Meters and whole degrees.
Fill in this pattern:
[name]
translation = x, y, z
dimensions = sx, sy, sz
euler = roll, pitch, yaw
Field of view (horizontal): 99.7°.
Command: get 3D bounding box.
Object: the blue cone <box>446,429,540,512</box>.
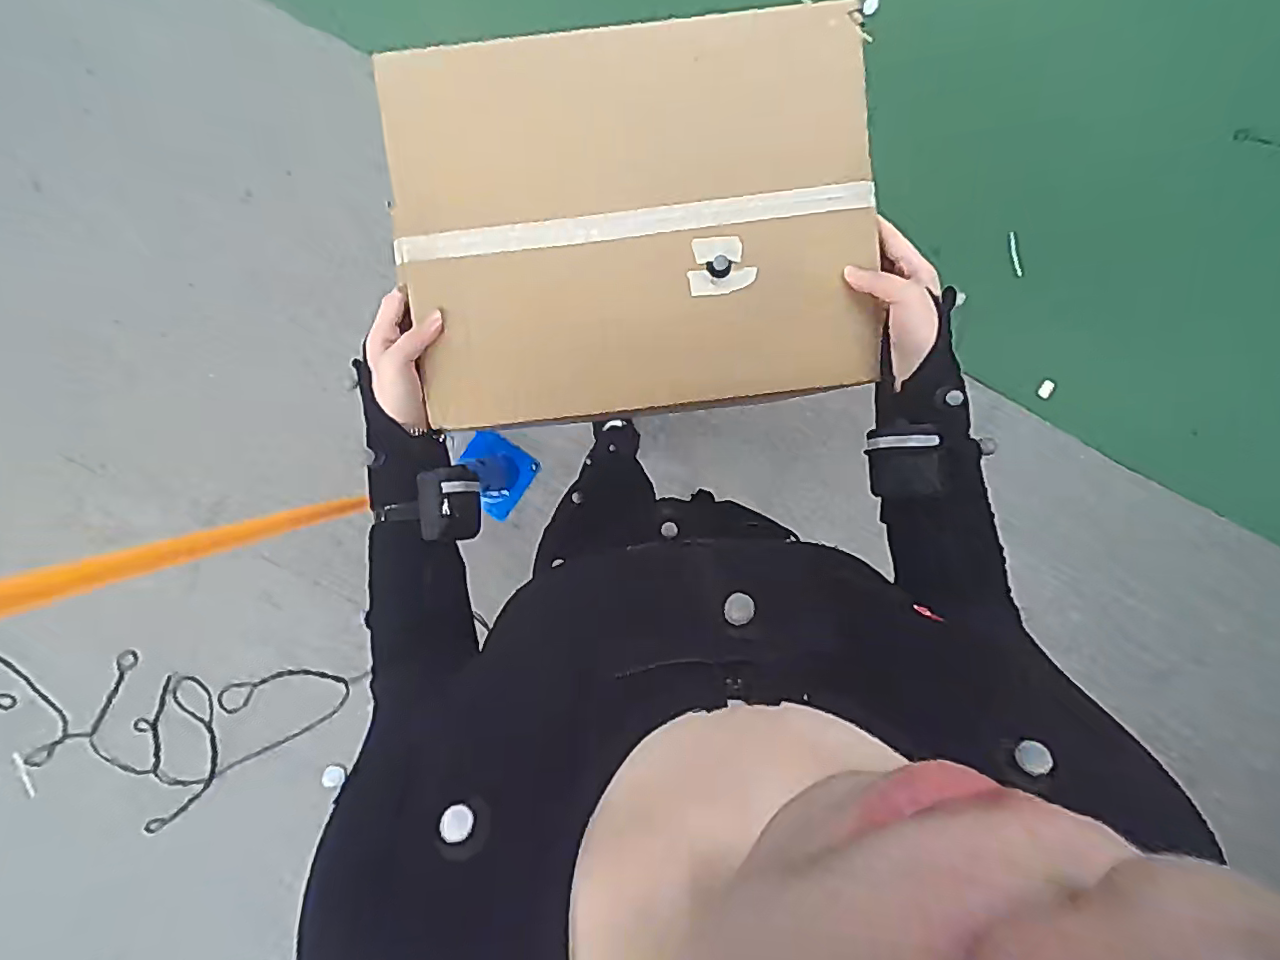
[blue cone]
translation = -0.394, -0.017, 1.314
dimensions = 0.193, 0.380, 0.192
euler = 36, 92, -2

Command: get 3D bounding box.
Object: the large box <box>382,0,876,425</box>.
[large box]
translation = -0.008, -0.243, 0.617
dimensions = 0.408, 0.320, 0.320
euler = -7, 96, -1
